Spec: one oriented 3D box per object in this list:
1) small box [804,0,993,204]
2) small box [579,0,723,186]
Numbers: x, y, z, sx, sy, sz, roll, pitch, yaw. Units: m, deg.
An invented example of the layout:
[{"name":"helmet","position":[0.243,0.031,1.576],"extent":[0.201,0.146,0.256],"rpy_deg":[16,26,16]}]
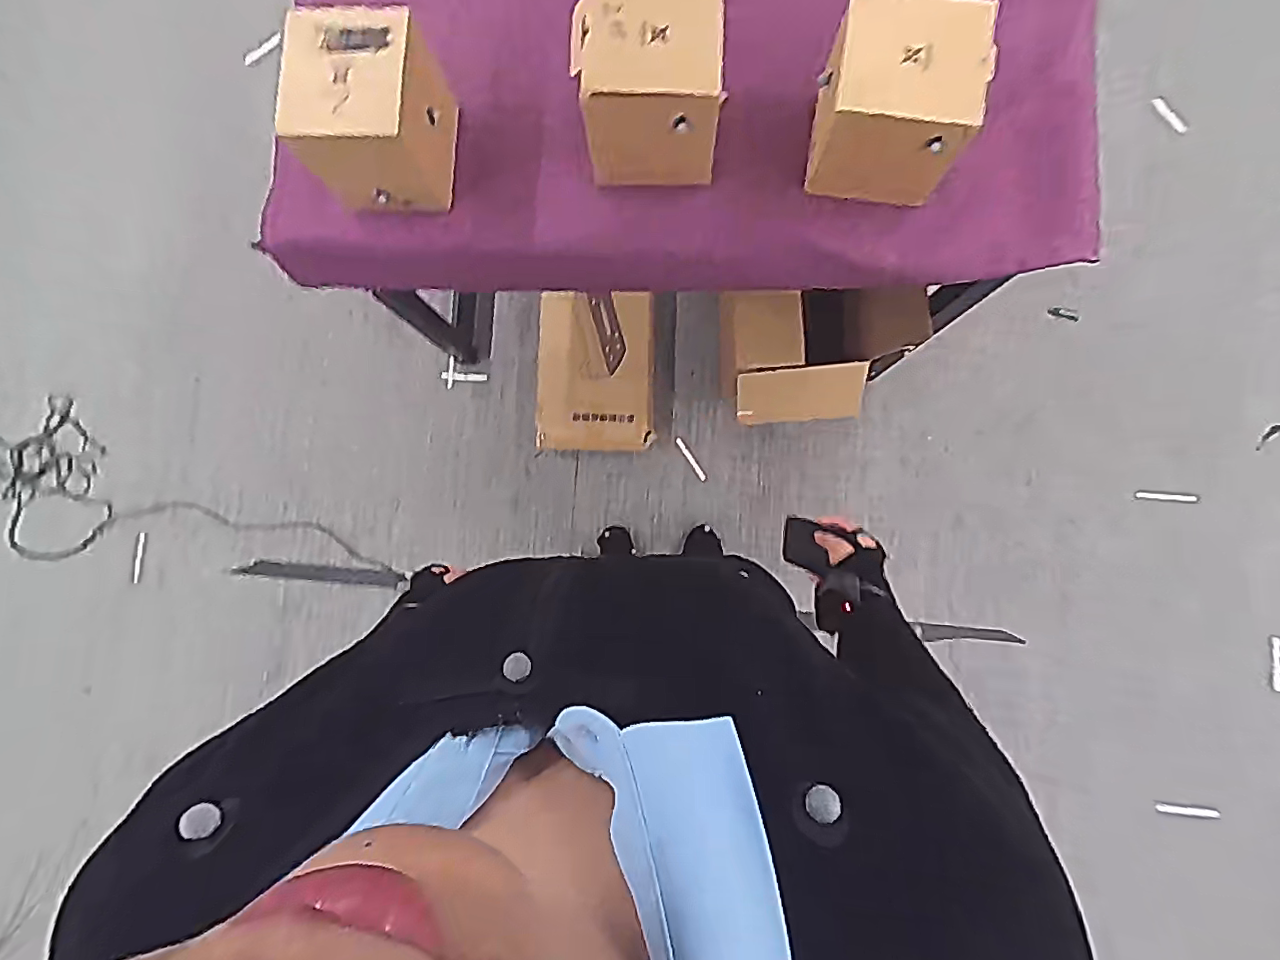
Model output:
[{"name":"small box","position":[0.333,-0.502,0.730],"extent":[0.179,0.176,0.168],"rpy_deg":[9,85,3]},{"name":"small box","position":[0.017,-0.534,0.748],"extent":[0.179,0.176,0.168],"rpy_deg":[1,83,3]}]
